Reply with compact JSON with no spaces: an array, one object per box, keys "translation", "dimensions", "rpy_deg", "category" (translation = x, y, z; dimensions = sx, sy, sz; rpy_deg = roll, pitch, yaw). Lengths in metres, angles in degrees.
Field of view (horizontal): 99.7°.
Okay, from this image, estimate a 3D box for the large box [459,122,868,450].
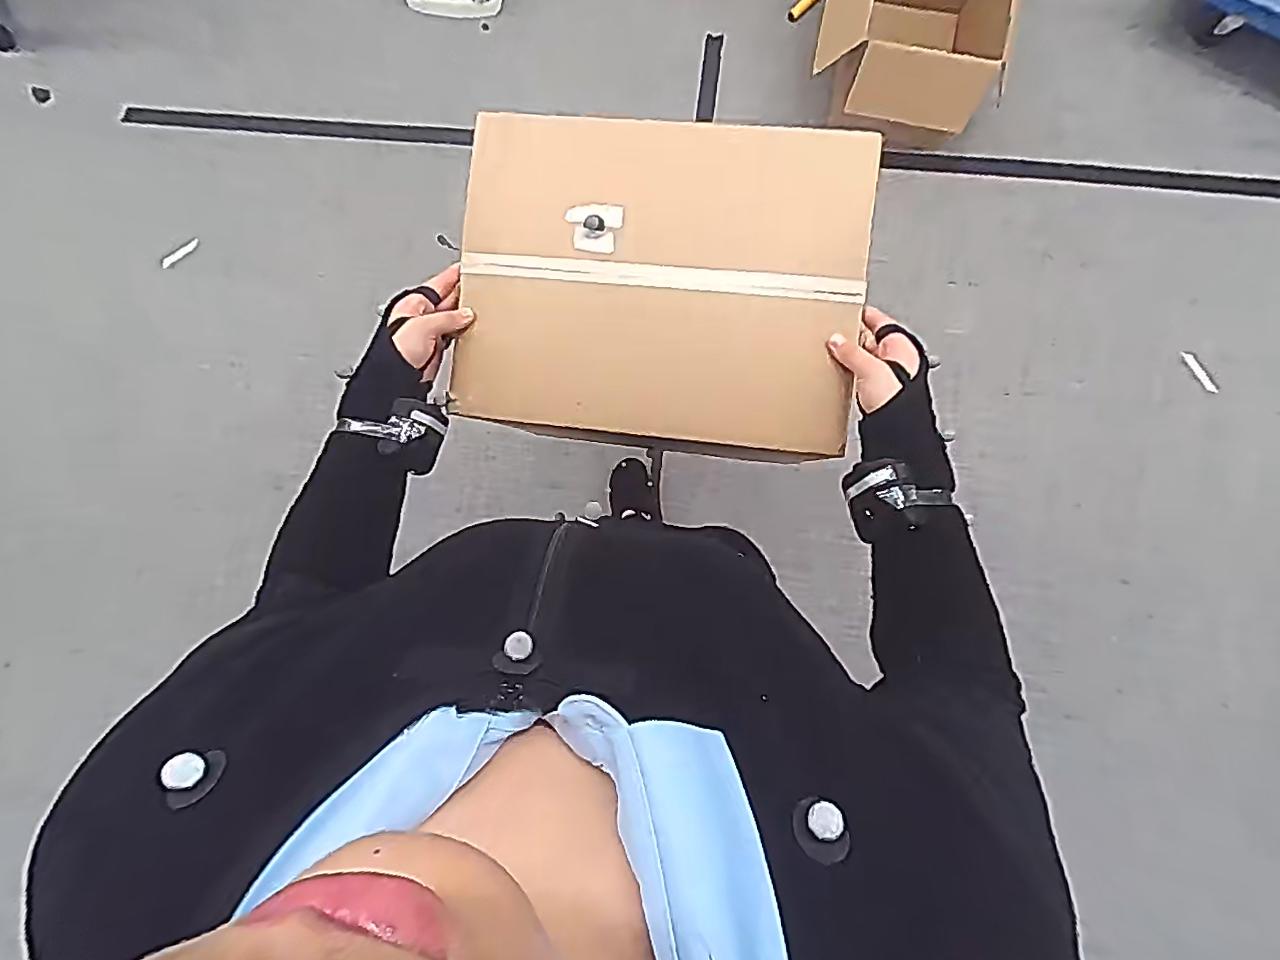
[{"translation":[0.033,-0.210,0.700],"dimensions":[0.408,0.320,0.320],"rpy_deg":[6,90,6],"category":"large box"}]
